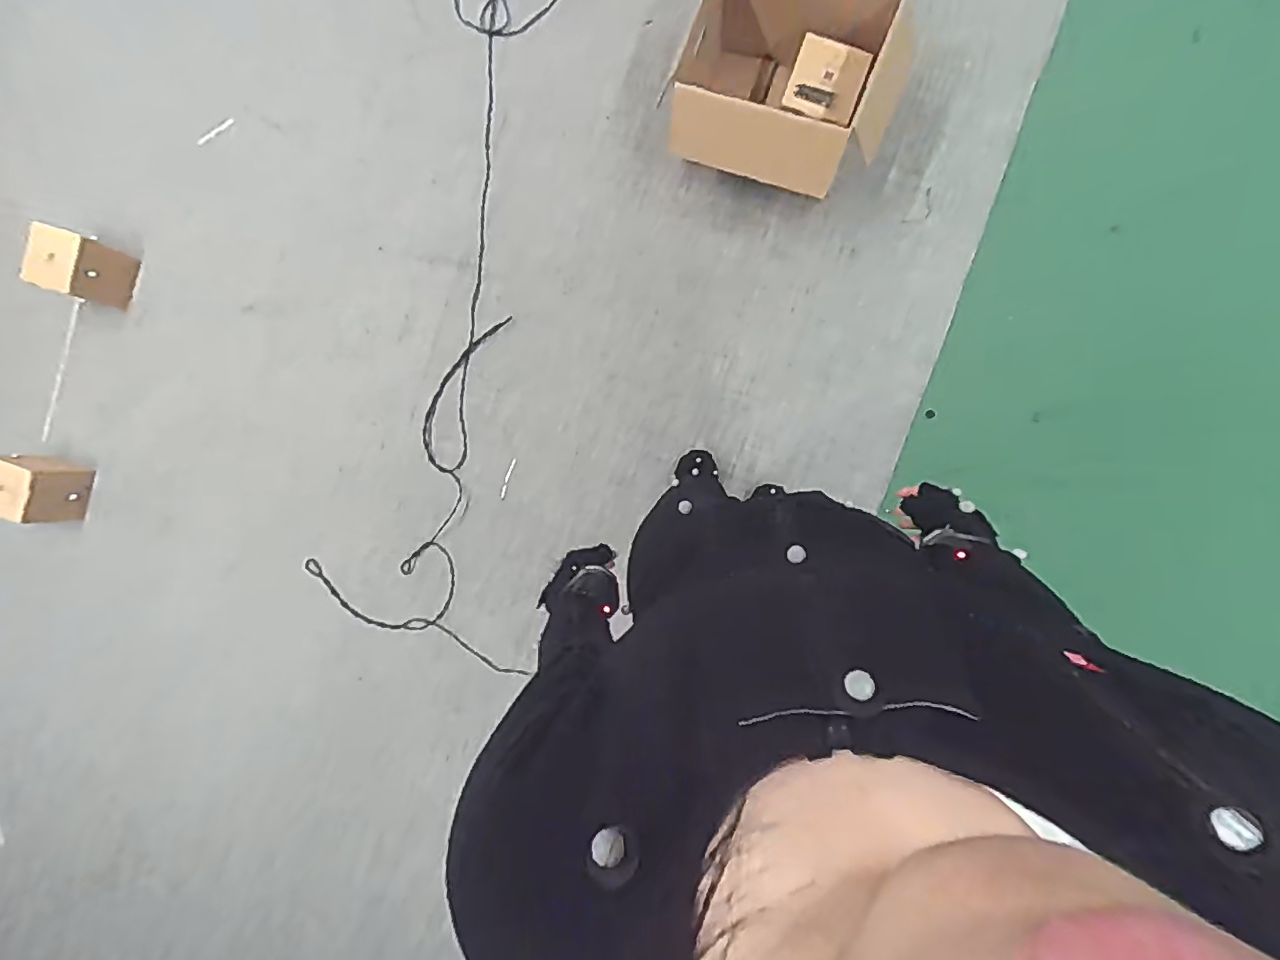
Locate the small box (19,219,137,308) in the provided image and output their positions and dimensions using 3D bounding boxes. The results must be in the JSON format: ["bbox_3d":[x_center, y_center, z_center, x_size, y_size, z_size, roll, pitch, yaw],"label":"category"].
[{"bbox_3d":[-1.659,-0.635,1.606,0.168,0.176,0.179,18,95,6],"label":"small box"}]

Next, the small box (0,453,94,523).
[{"bbox_3d":[-1.848,0.022,1.652,0.179,0.176,0.168,18,94,6],"label":"small box"}]
